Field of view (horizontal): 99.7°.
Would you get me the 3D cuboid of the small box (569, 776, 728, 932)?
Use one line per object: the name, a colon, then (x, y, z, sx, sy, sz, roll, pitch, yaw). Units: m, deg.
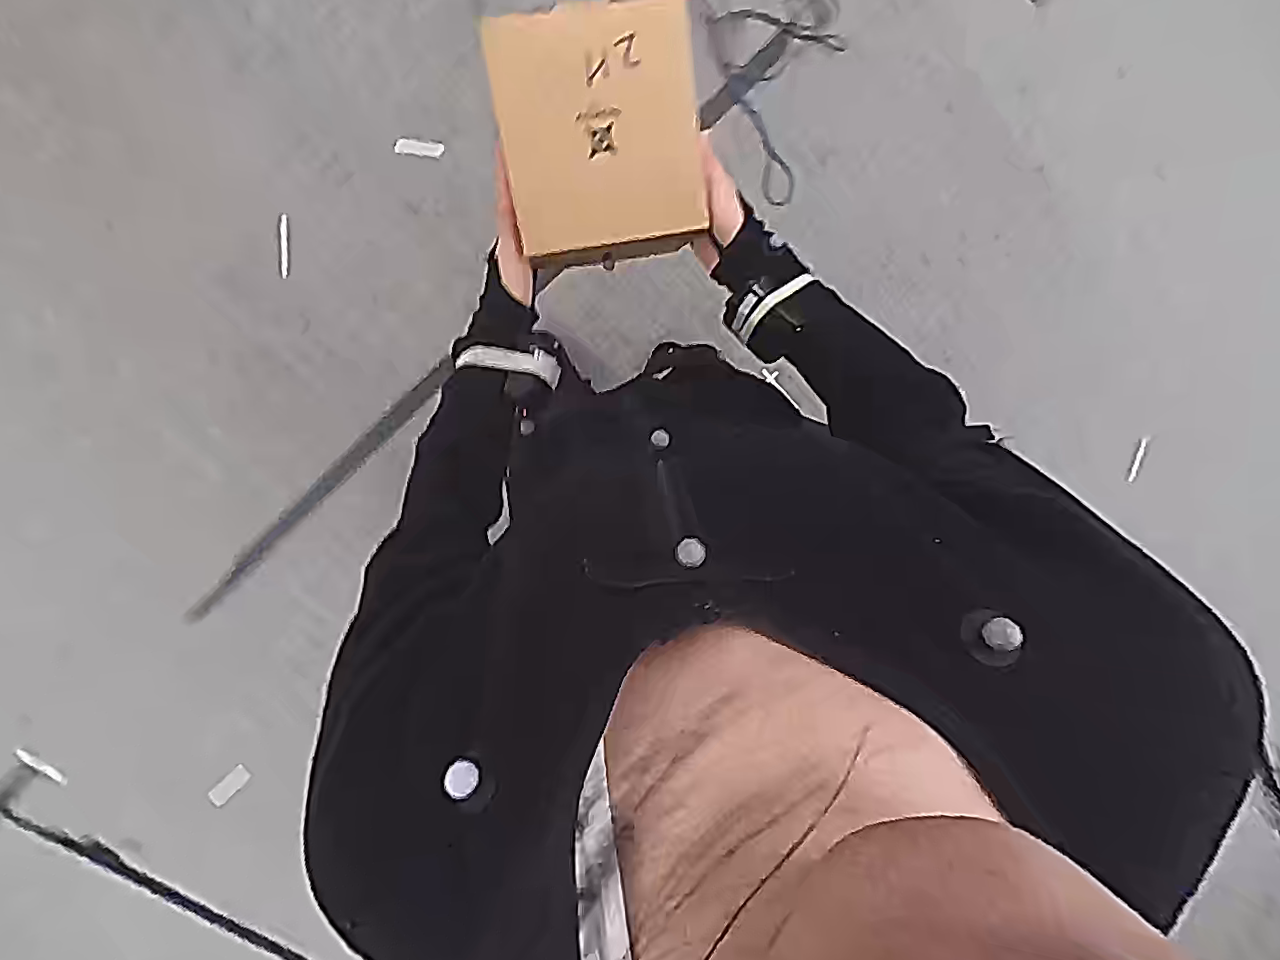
small box: (0.004, 0.608, 0.850, 0.168, 0.176, 0.179, -42, 107, 5)

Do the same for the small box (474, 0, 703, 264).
small box: (-0.044, -0.312, 0.518, 0.168, 0.176, 0.179, -11, 107, -4)

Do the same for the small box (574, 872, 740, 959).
small box: (0.027, 0.655, 0.694, 0.168, 0.176, 0.179, -42, 106, 5)
